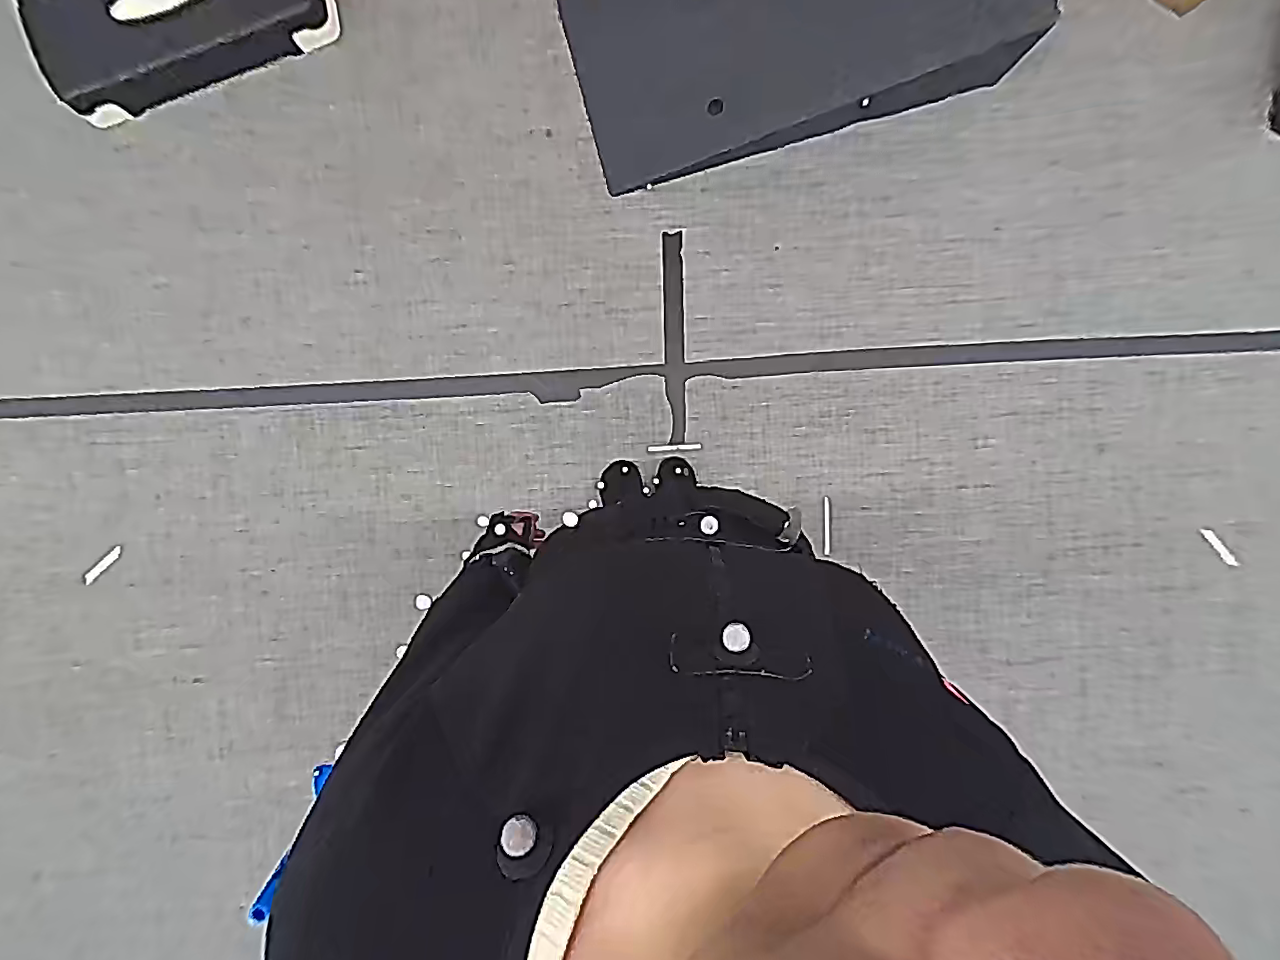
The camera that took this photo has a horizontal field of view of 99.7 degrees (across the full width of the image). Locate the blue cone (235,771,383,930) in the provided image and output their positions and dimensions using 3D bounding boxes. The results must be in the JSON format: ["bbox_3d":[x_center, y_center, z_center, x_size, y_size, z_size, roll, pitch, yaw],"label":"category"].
[{"bbox_3d":[-0.780,0.872,1.266,0.192,0.380,0.193,-1,94,1],"label":"blue cone"}]
